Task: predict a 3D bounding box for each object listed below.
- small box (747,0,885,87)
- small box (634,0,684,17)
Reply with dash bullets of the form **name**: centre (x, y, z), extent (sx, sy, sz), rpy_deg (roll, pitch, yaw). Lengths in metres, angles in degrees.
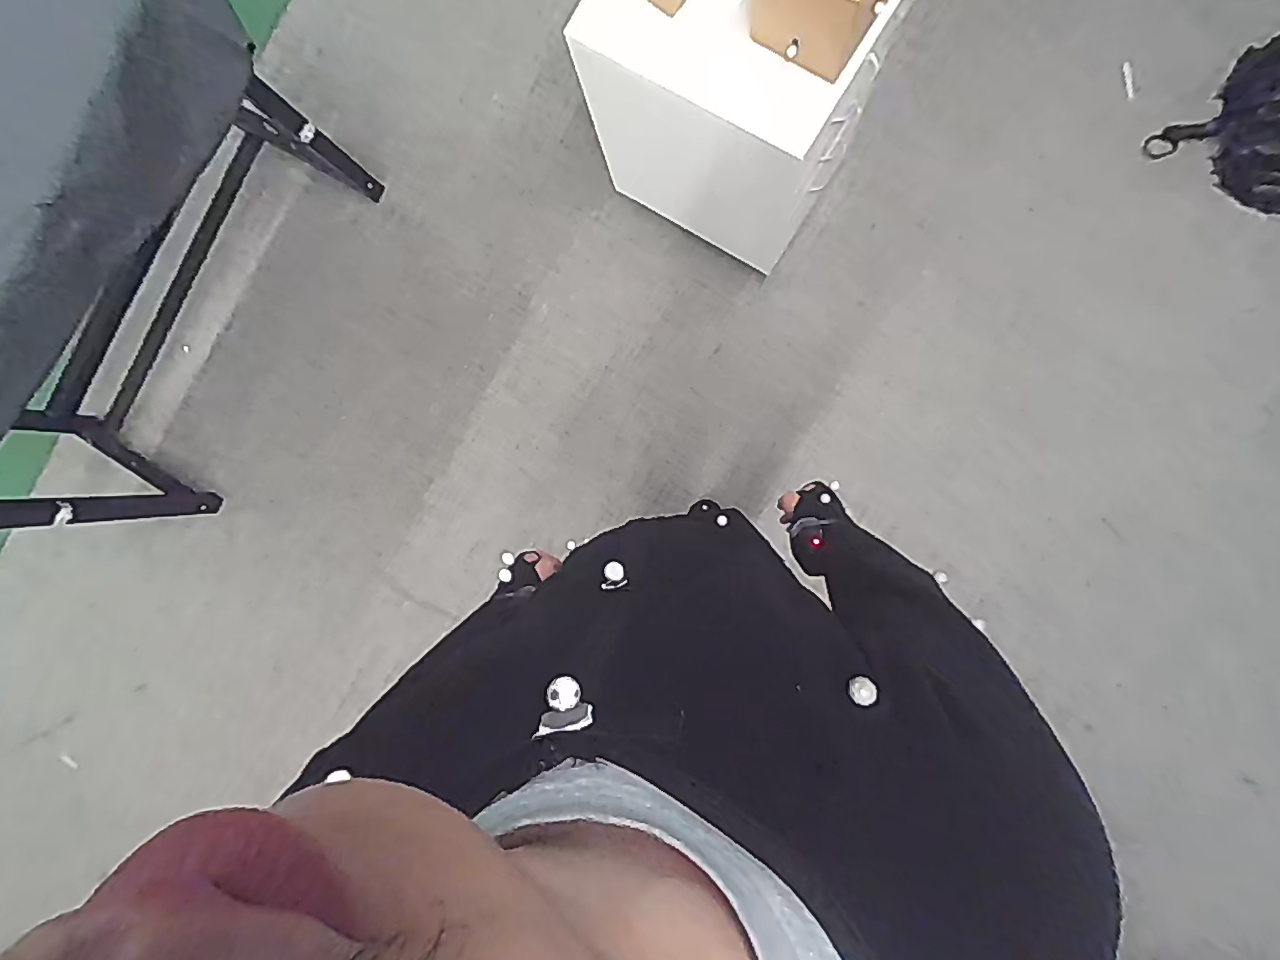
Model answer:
- **small box**: centre (0.291, -0.782, 0.863), extent (0.179, 0.176, 0.168), rpy_deg (34, 93, 5)
- **small box**: centre (0.030, -0.929, 0.890), extent (0.179, 0.176, 0.168), rpy_deg (40, 93, 5)
